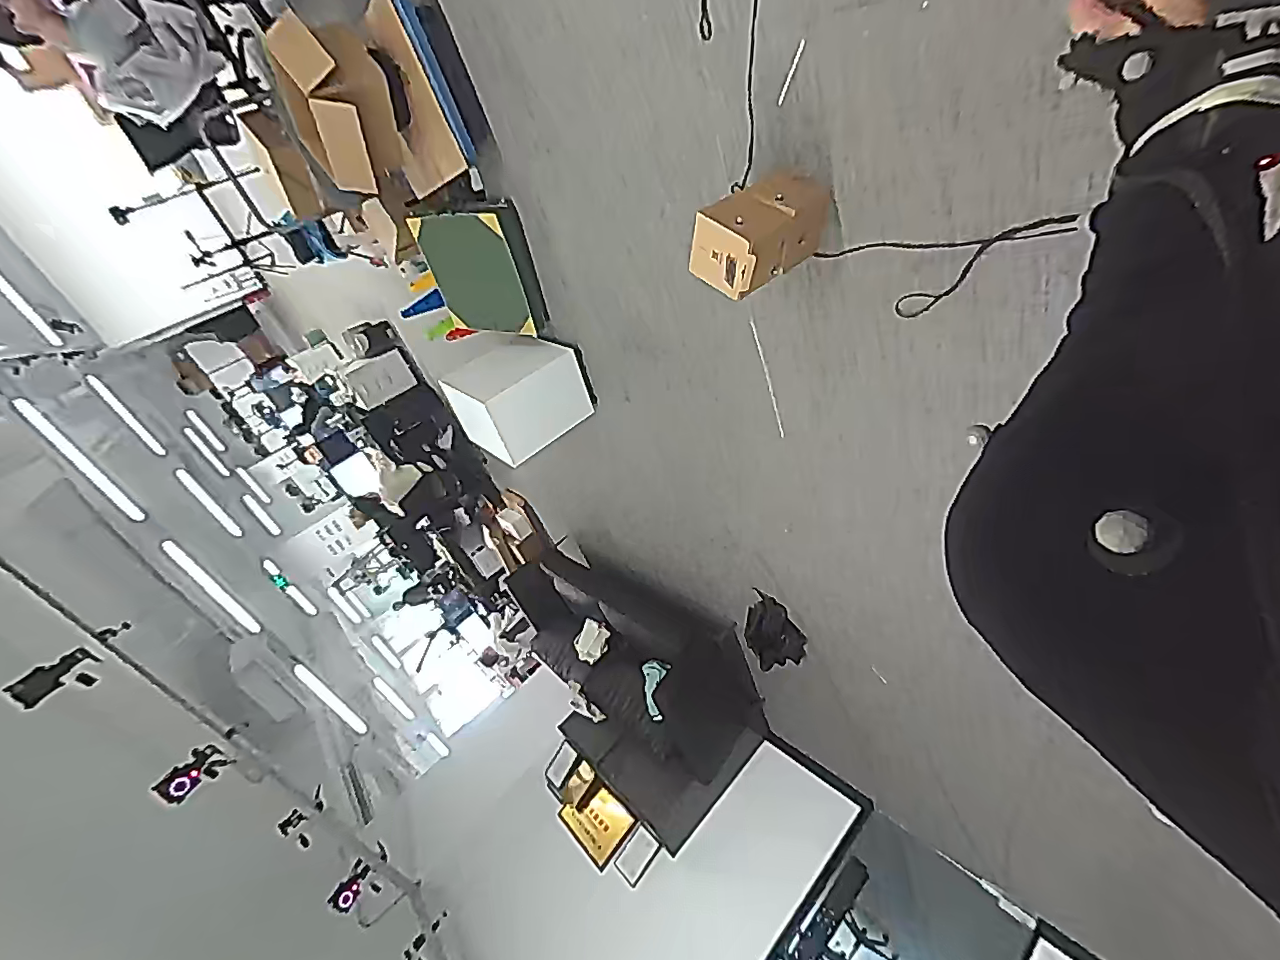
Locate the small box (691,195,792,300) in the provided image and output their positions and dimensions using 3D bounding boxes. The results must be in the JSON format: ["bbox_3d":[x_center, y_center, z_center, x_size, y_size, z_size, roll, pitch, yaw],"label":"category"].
[{"bbox_3d":[0.259,-0.600,1.384,0.179,0.176,0.168,42,152,23],"label":"small box"}]

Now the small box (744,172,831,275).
[{"bbox_3d":[0.383,-0.688,1.448,0.168,0.176,0.179,38,151,27],"label":"small box"}]
